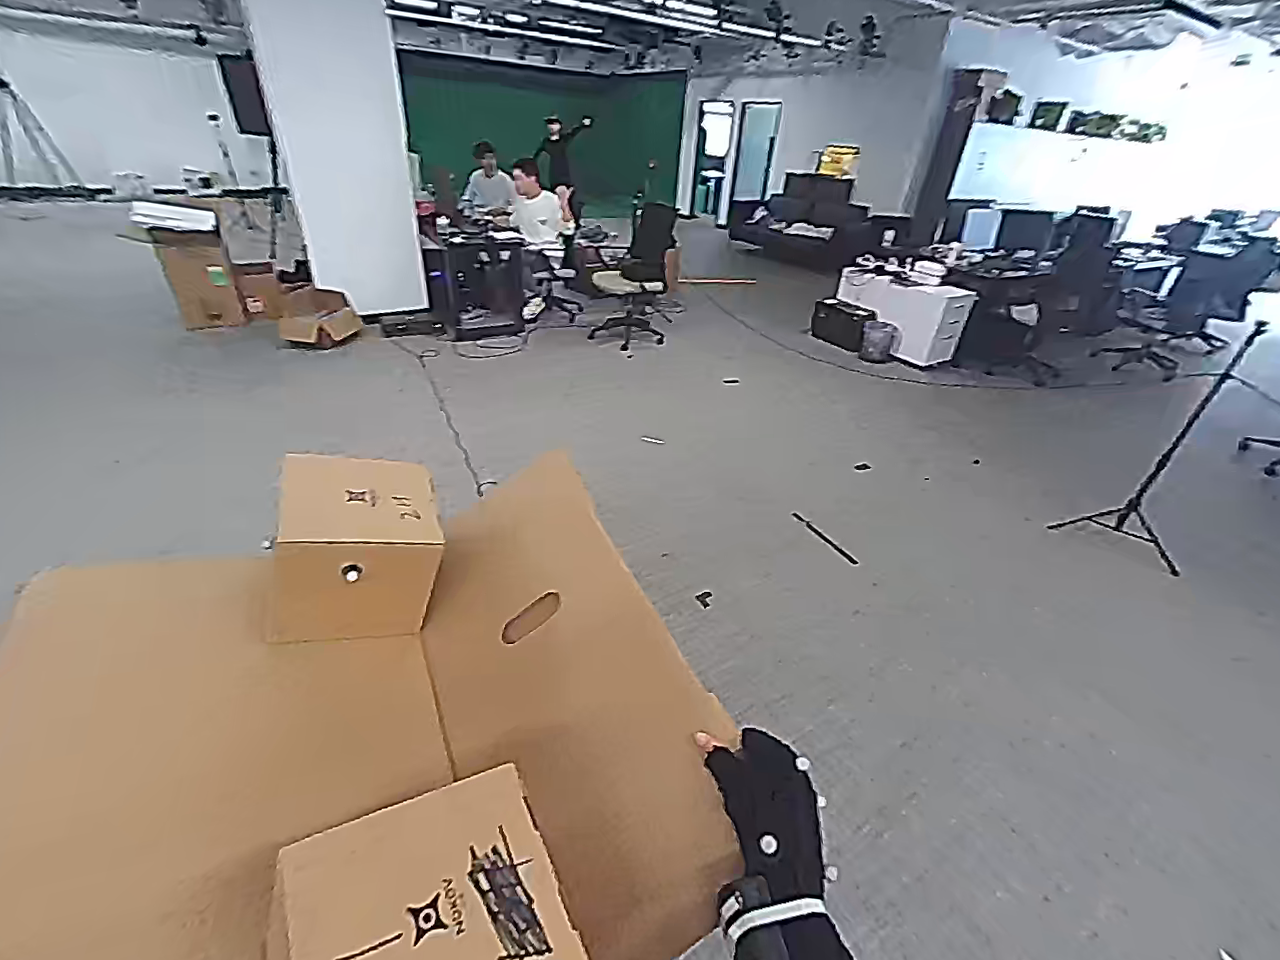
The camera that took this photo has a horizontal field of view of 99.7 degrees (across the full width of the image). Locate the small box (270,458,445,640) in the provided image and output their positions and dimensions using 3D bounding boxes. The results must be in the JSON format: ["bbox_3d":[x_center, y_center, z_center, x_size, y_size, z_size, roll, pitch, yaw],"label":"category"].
[{"bbox_3d":[-0.372,0.092,0.710,0.179,0.176,0.168,7,34,-33],"label":"small box"}]
